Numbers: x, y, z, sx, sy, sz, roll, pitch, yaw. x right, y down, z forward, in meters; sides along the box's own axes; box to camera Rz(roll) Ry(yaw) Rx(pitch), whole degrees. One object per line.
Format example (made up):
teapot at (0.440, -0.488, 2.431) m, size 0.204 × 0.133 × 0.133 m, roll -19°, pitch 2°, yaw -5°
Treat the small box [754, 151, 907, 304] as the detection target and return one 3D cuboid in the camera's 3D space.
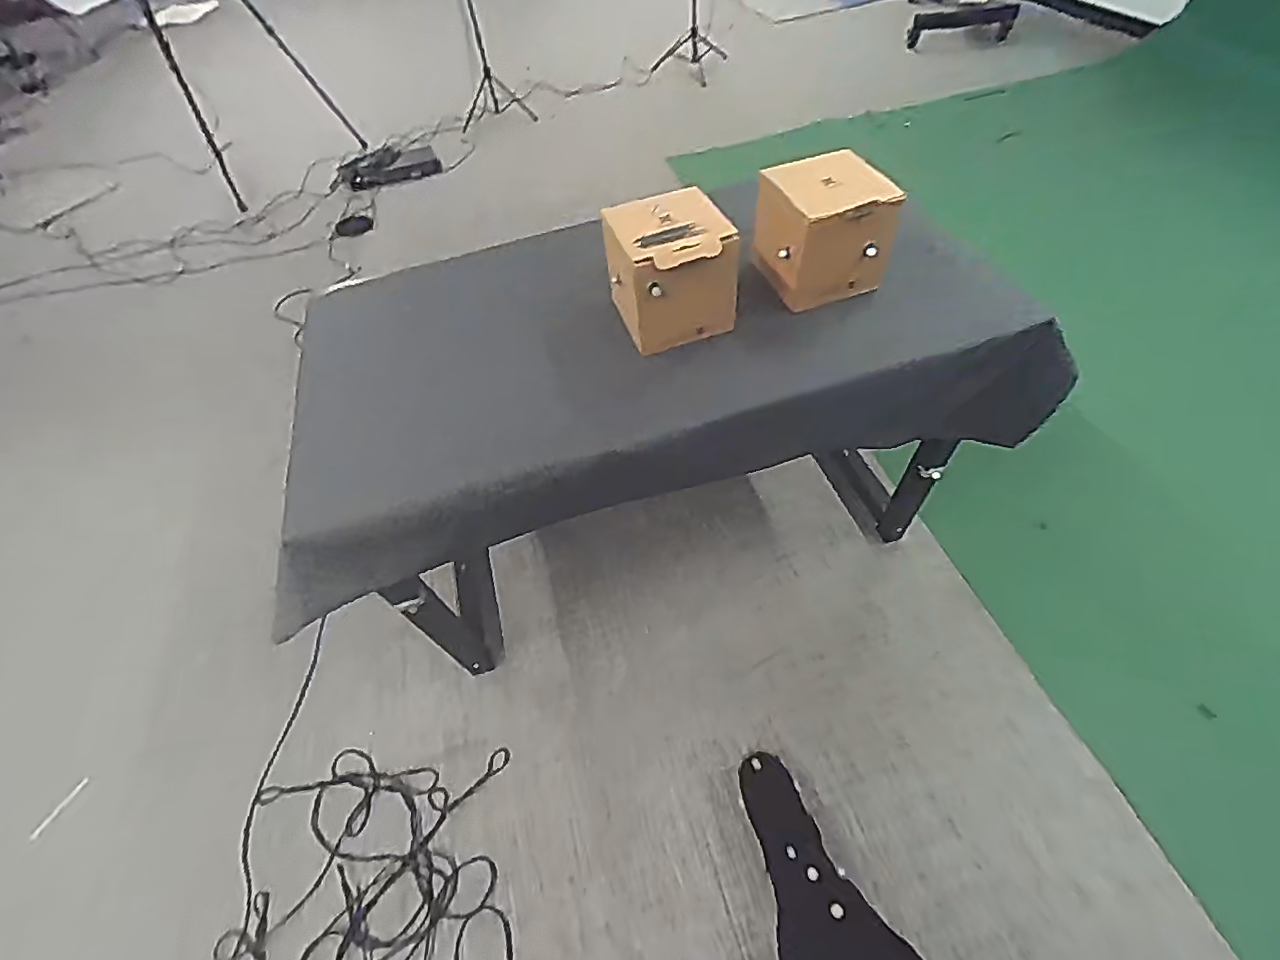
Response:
small box at (0.307, -0.418, 0.914) m, size 0.168 × 0.176 × 0.179 m, roll -17°, pitch 53°, yaw -8°
